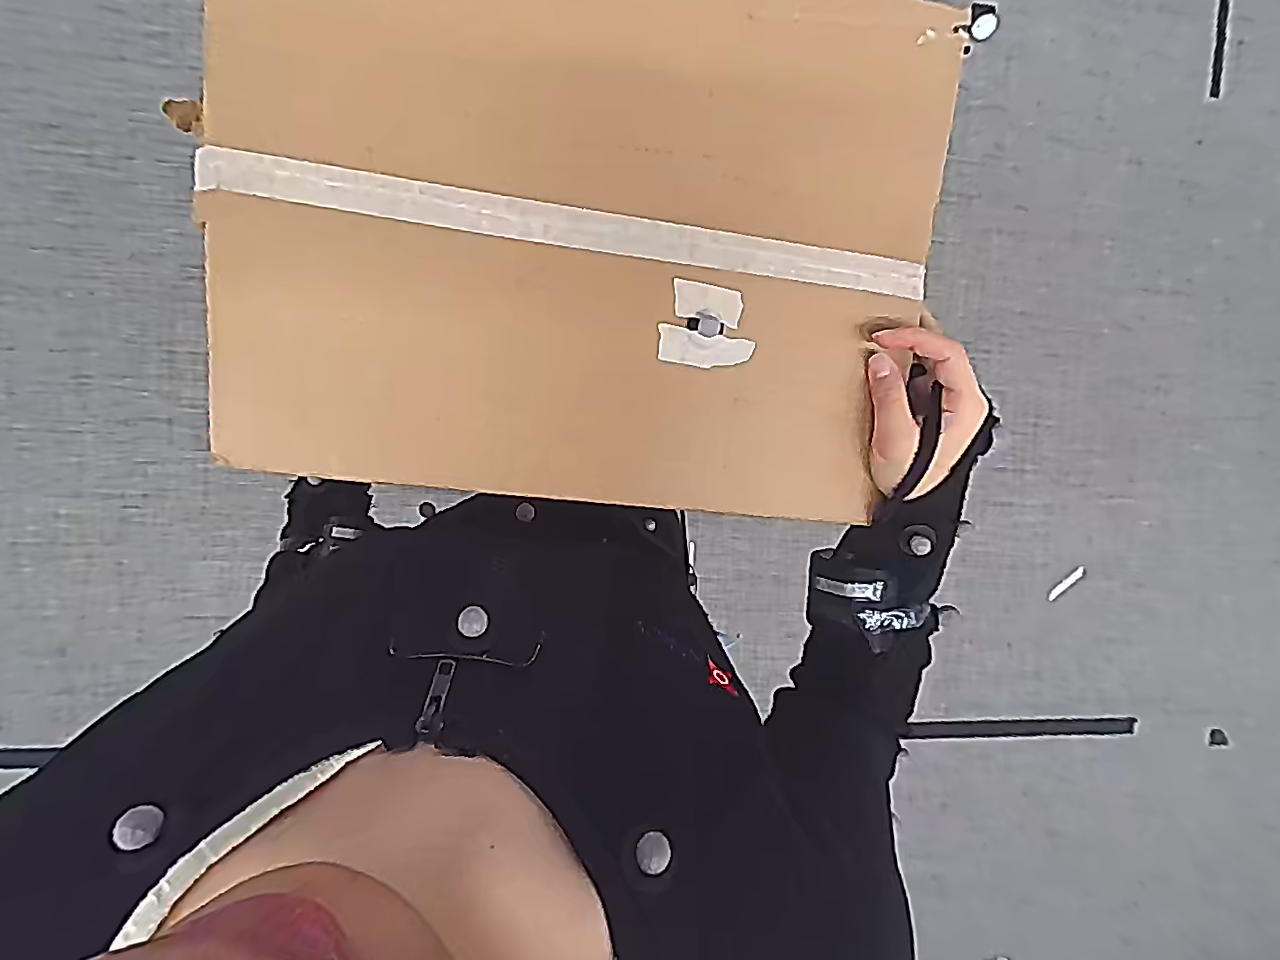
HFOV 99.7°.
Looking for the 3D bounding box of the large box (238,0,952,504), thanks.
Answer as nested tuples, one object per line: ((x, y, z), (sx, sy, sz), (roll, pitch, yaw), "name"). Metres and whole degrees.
((-0.042, -0.170, 0.463), (0.408, 0.320, 0.320), (5, 99, -10), "large box")
